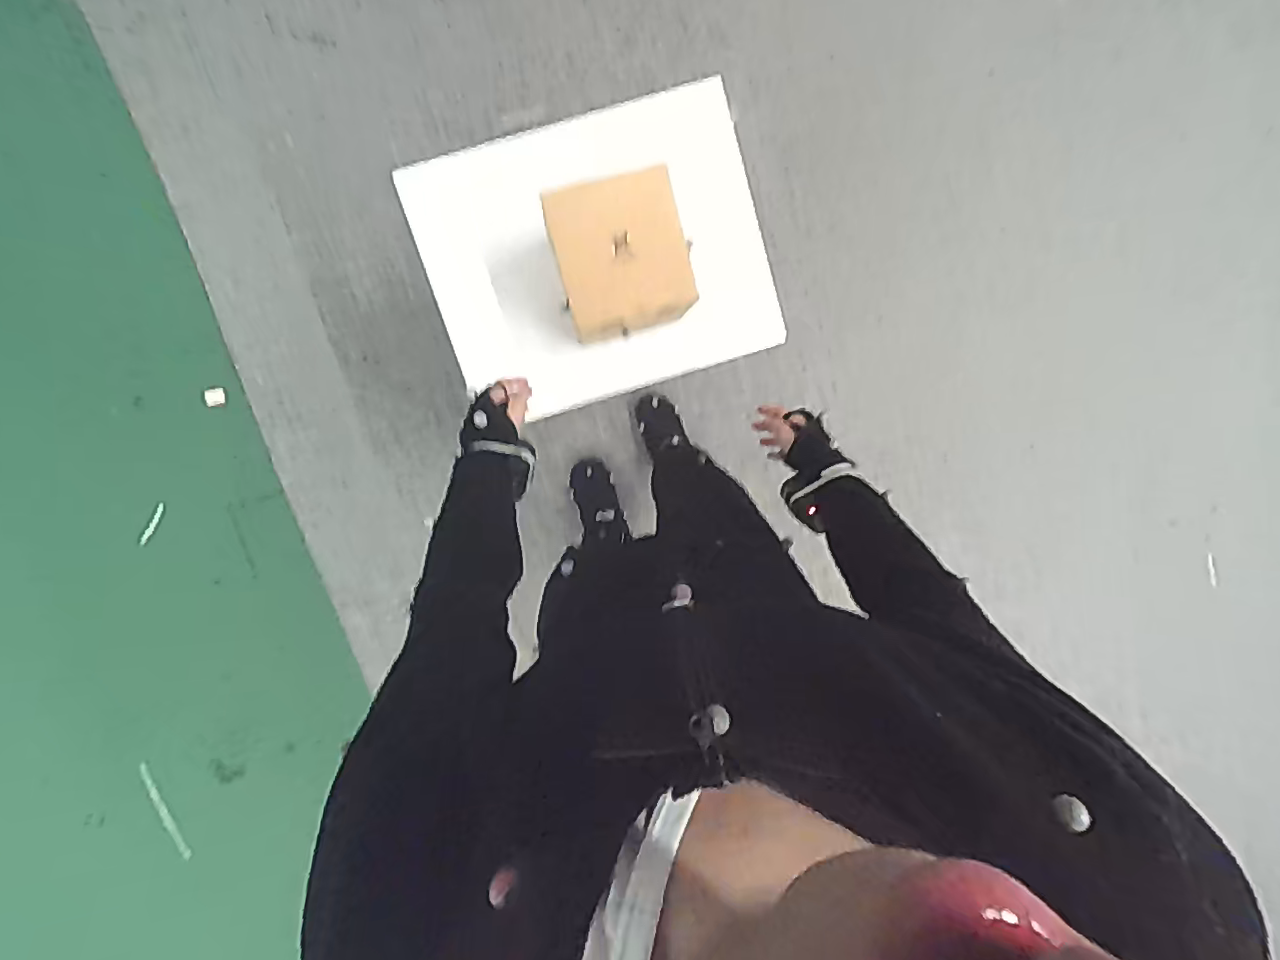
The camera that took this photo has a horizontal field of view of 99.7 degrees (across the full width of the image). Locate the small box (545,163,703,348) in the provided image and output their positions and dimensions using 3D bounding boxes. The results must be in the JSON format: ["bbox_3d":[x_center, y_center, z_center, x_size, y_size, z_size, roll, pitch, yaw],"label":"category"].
[{"bbox_3d":[-0.026,-0.296,0.750,0.168,0.176,0.179,-16,98,-3],"label":"small box"}]
